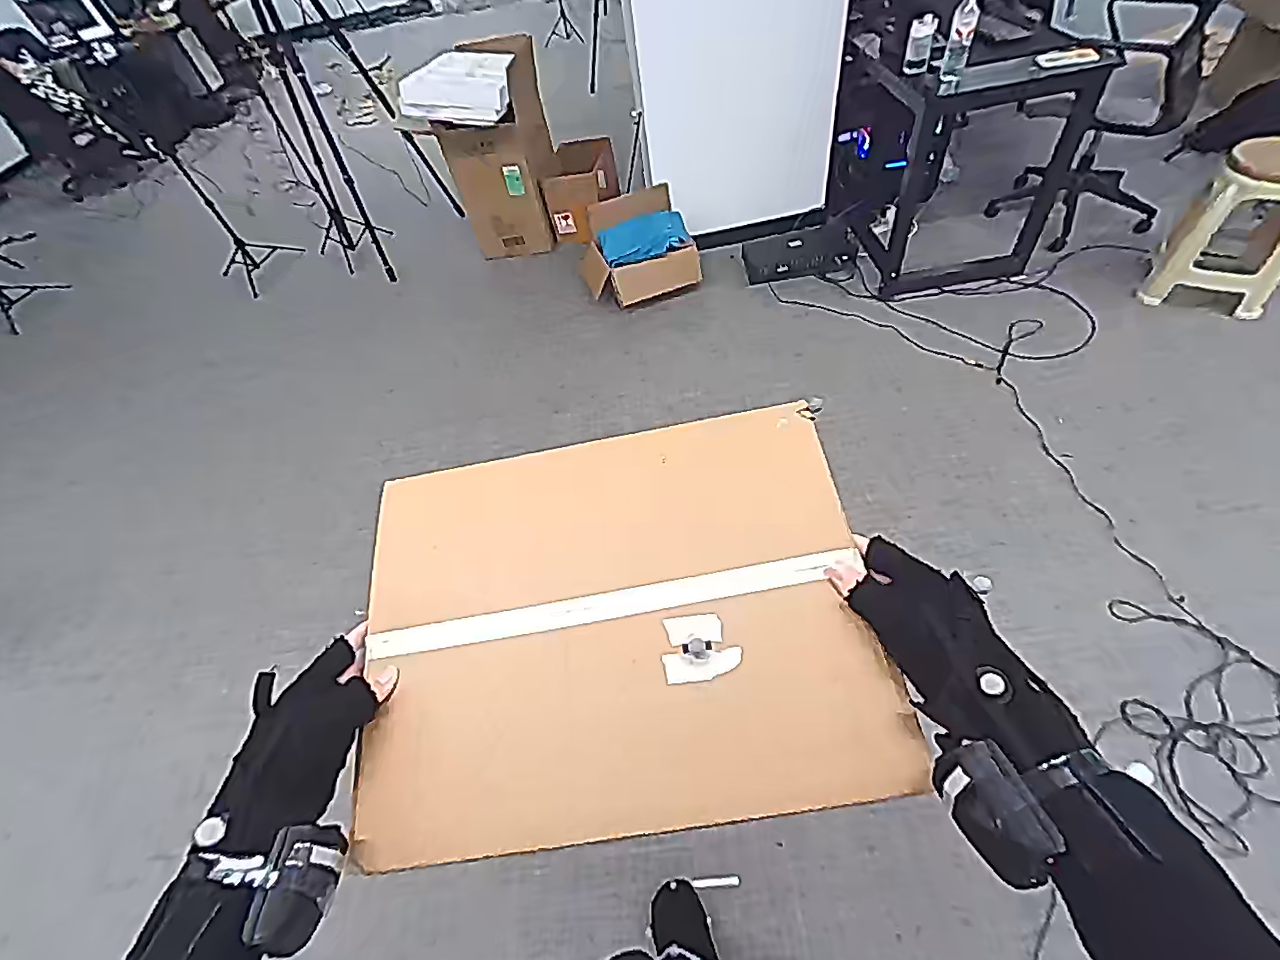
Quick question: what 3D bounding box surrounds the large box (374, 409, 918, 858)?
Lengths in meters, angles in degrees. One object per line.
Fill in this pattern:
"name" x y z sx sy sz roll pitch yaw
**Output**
"large box" -0.002 0.171 0.581 0.408 0.320 0.320 -11 62 4
